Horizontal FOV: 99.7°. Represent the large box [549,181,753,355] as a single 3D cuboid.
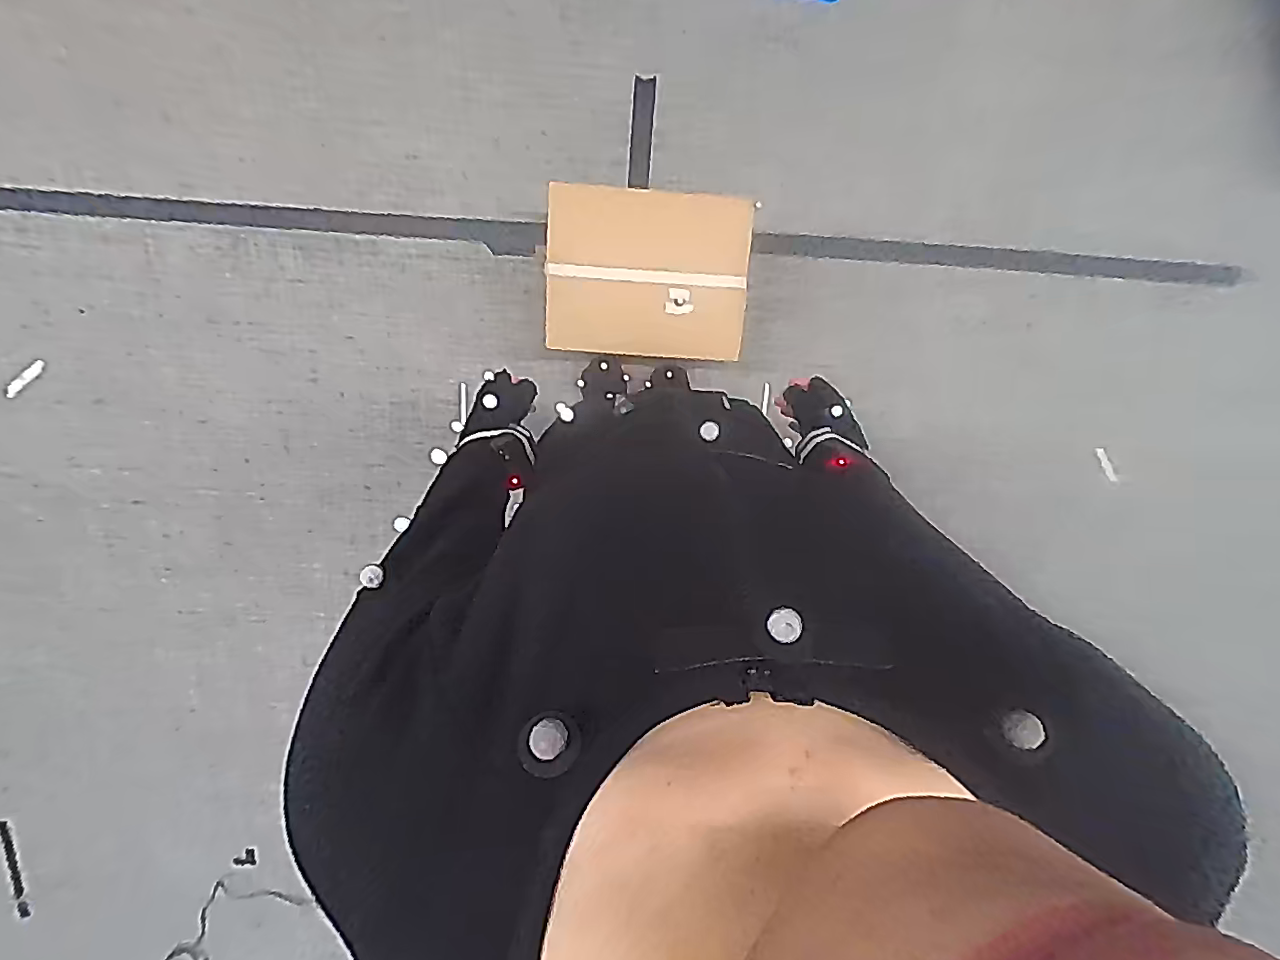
[{"bbox_3d":[0.006,-0.454,1.223,0.408,0.320,0.320,2,106,-5],"label":"large box"}]
